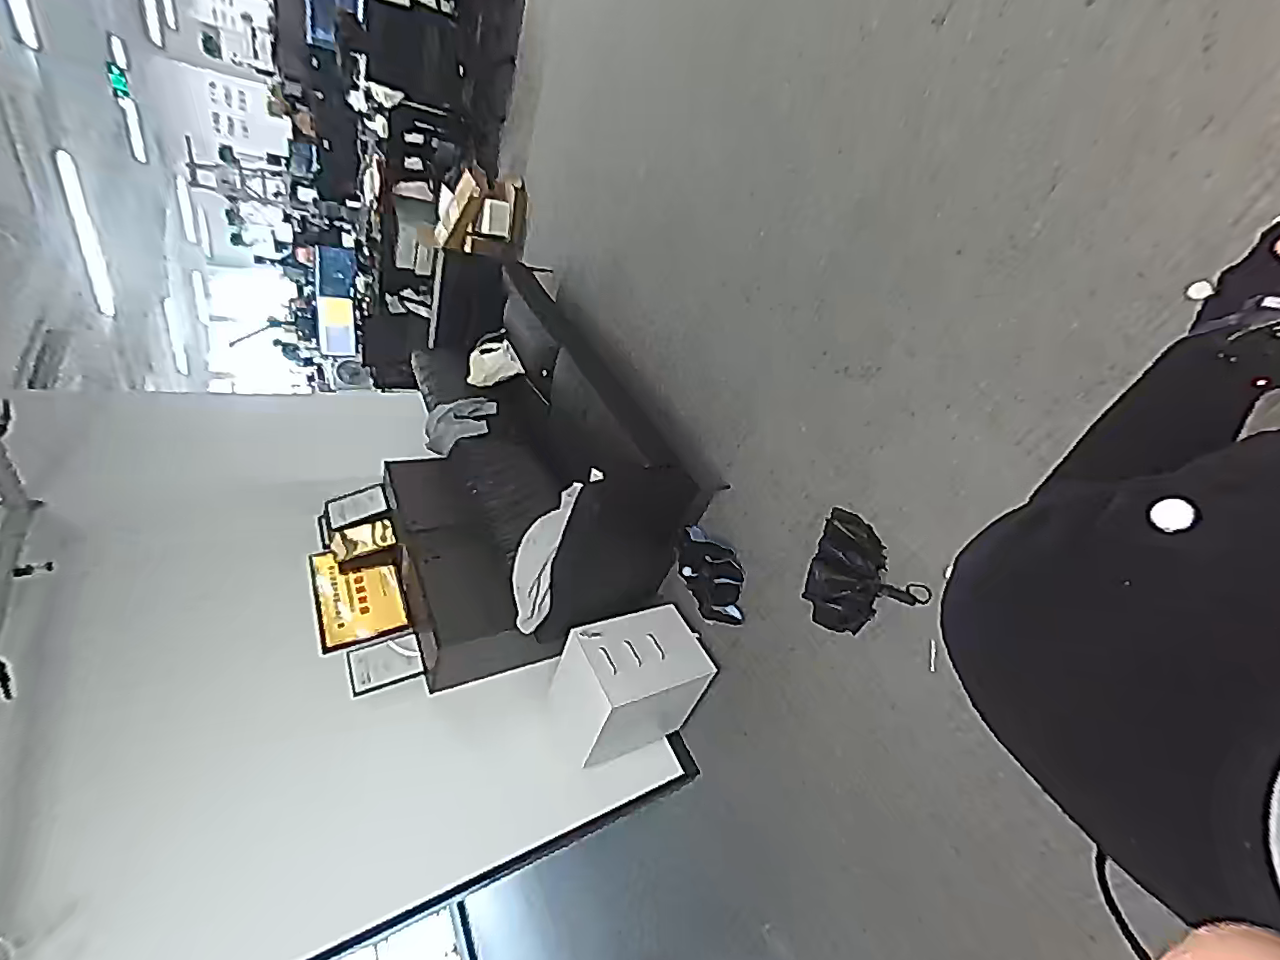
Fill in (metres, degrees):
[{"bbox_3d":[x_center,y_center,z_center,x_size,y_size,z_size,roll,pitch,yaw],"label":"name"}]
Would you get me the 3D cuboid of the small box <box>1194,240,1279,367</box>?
[{"bbox_3d":[1.173,-0.303,0.966,0.179,0.176,0.168,54,138,35],"label":"small box"}]
